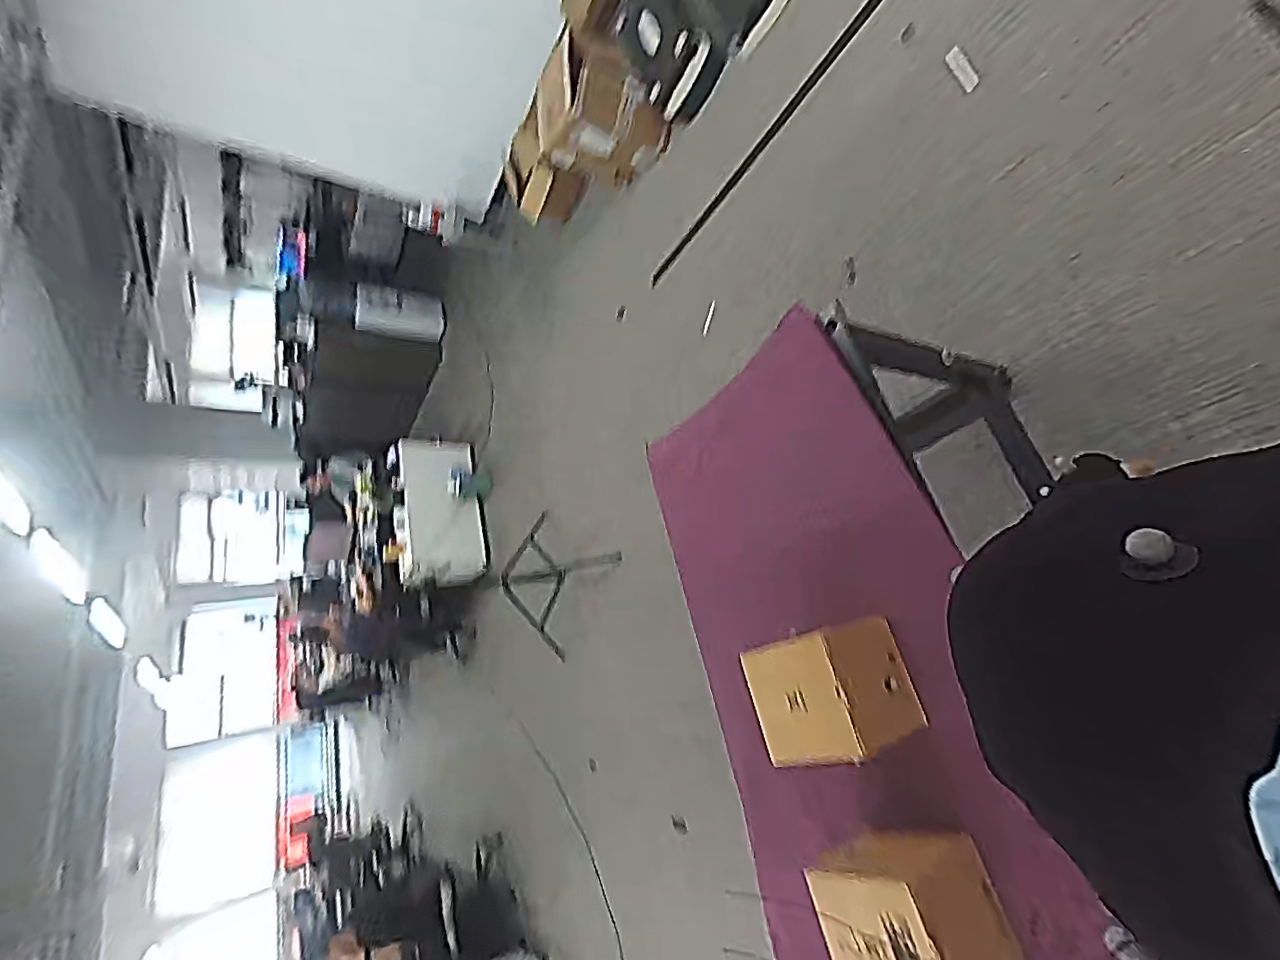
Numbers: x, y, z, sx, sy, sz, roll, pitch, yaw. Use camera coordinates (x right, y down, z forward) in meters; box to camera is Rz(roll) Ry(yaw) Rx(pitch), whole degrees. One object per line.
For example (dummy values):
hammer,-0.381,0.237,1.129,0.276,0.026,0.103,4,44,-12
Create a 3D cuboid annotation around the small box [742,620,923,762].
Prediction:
small box,0.297,0.328,0.847,0.179,0.176,0.168,-40,58,46
